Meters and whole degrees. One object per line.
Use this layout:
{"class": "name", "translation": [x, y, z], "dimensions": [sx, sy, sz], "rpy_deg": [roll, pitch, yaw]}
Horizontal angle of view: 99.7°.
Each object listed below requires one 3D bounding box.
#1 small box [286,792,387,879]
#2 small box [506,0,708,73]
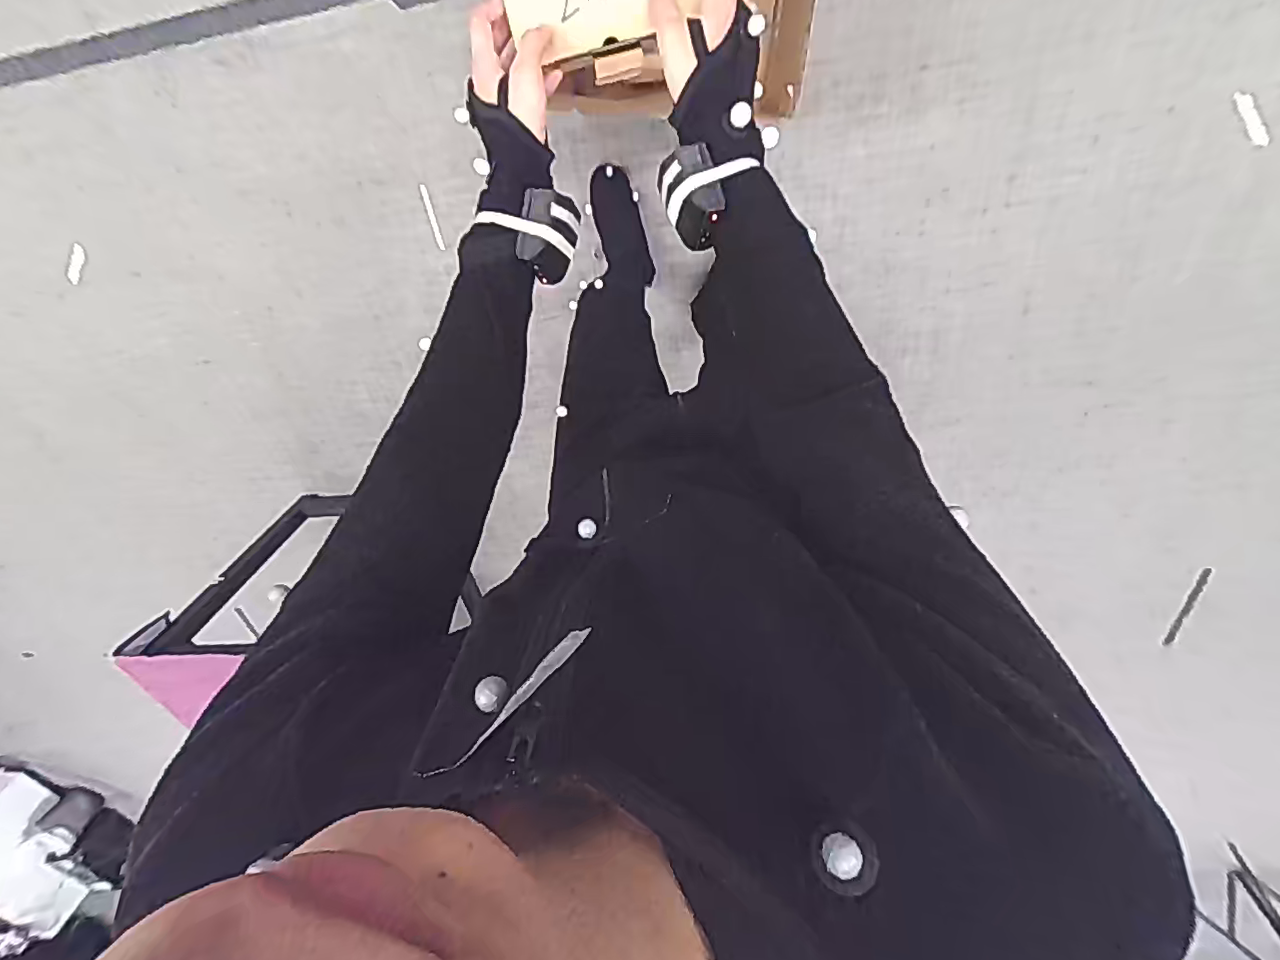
{"class": "small box", "translation": [-0.881, 1.046, 1.598], "dimensions": [0.179, 0.176, 0.168], "rpy_deg": [-15, 121, 17]}
{"class": "small box", "translation": [-0.033, -0.486, 0.482], "dimensions": [0.168, 0.176, 0.179], "rpy_deg": [-6, 127, 11]}
